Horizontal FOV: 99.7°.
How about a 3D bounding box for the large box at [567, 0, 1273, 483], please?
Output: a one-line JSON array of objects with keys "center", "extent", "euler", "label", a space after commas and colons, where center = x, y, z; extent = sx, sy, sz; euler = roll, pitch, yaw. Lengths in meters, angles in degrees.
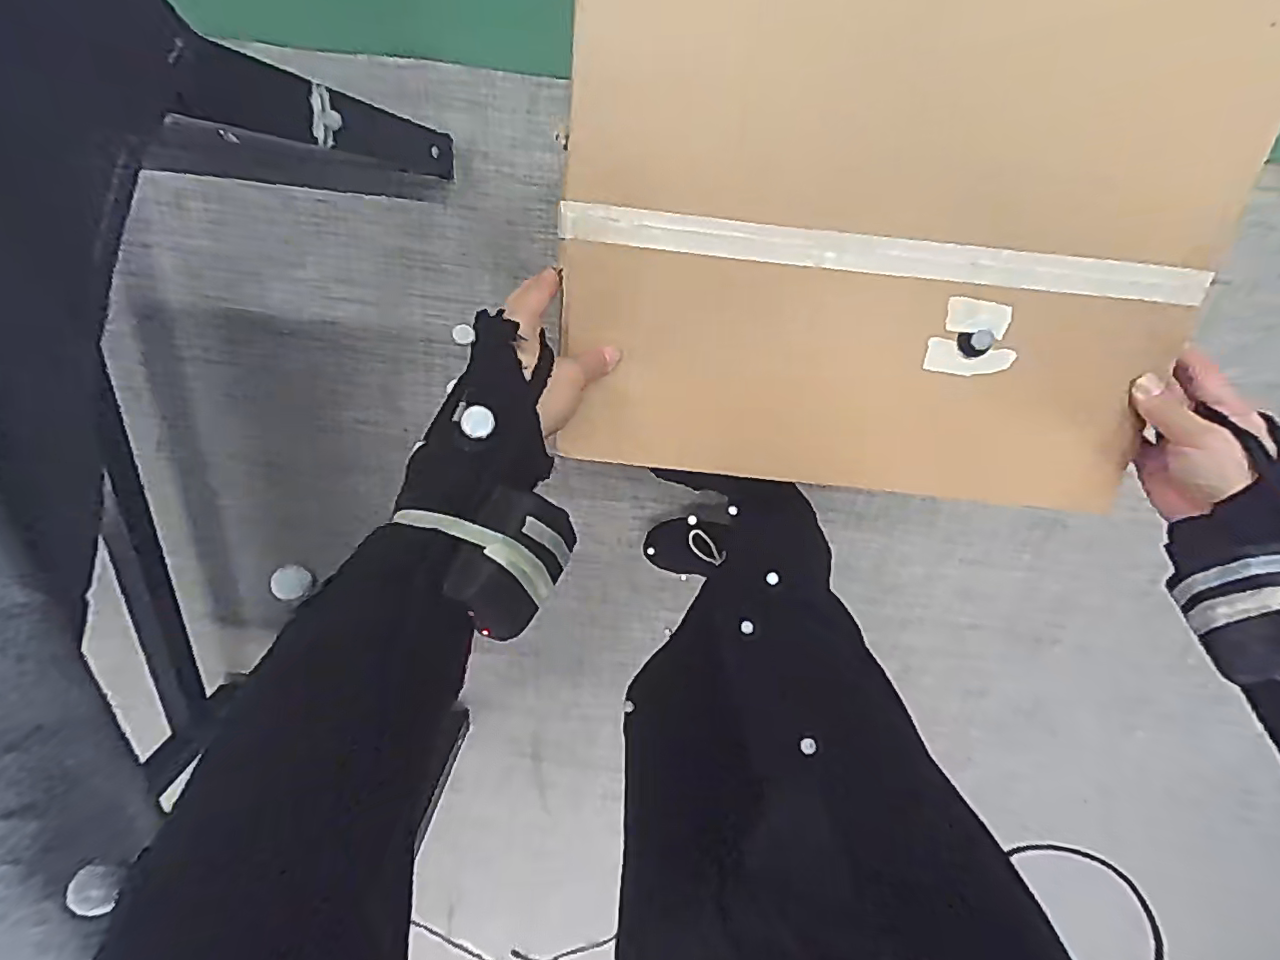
[{"center": [0.153, -0.205, 0.493], "extent": [0.408, 0.320, 0.320], "euler": [5, 111, -2], "label": "large box"}]
